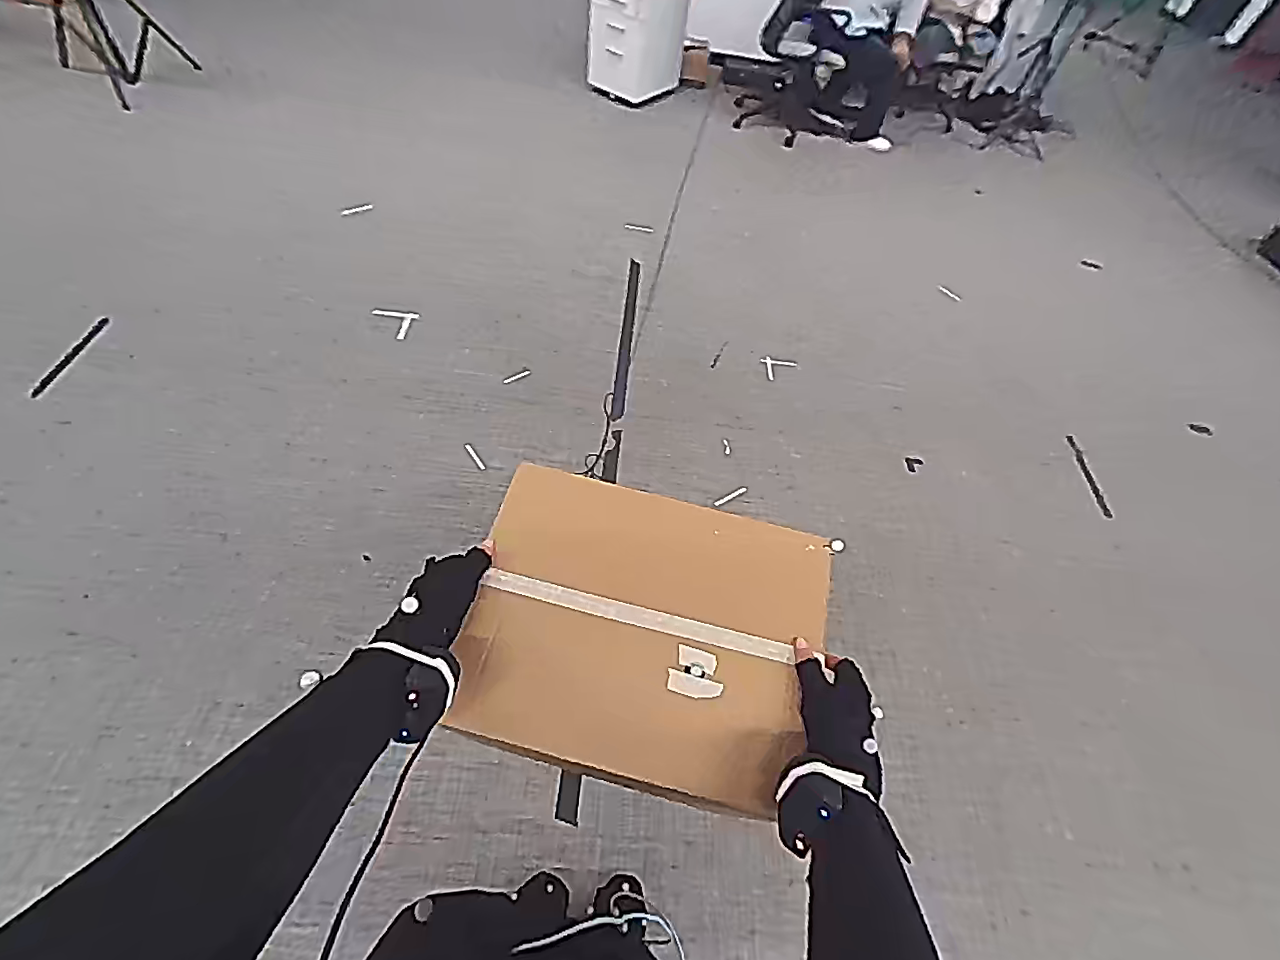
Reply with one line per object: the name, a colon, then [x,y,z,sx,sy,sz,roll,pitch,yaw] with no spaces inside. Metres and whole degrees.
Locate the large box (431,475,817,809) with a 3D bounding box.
large box: [-0.011,0.236,0.756,0.408,0.320,0.320,14,61,2]
